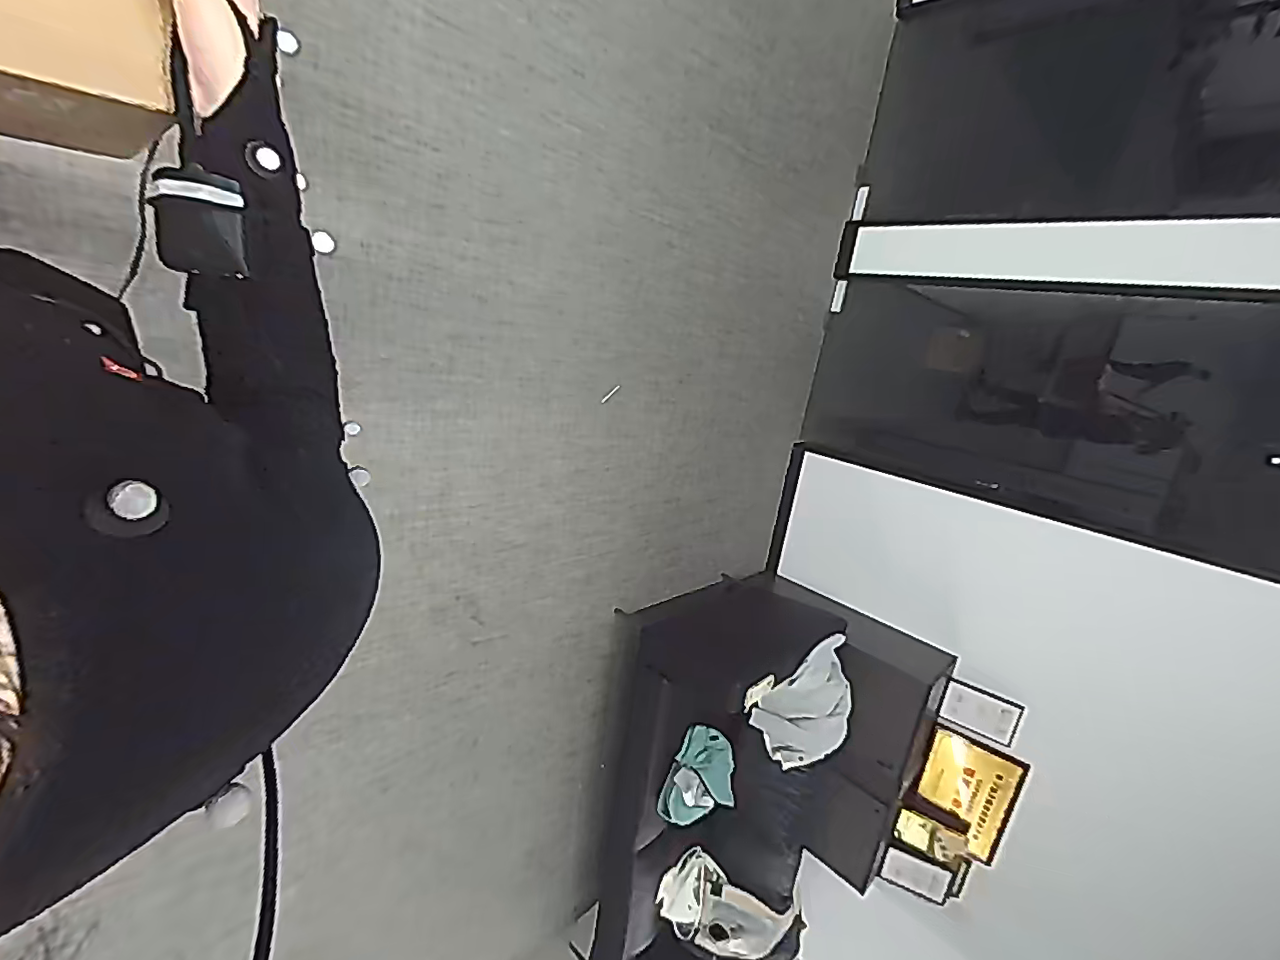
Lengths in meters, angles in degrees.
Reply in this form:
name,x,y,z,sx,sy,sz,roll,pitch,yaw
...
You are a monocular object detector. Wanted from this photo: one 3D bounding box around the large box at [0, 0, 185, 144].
name,x,y,z,sx,sy,sz,roll,pitch,yaw
large box,-0.541,-0.408,0.271,0.408,0.320,0.320,-14,118,-47
